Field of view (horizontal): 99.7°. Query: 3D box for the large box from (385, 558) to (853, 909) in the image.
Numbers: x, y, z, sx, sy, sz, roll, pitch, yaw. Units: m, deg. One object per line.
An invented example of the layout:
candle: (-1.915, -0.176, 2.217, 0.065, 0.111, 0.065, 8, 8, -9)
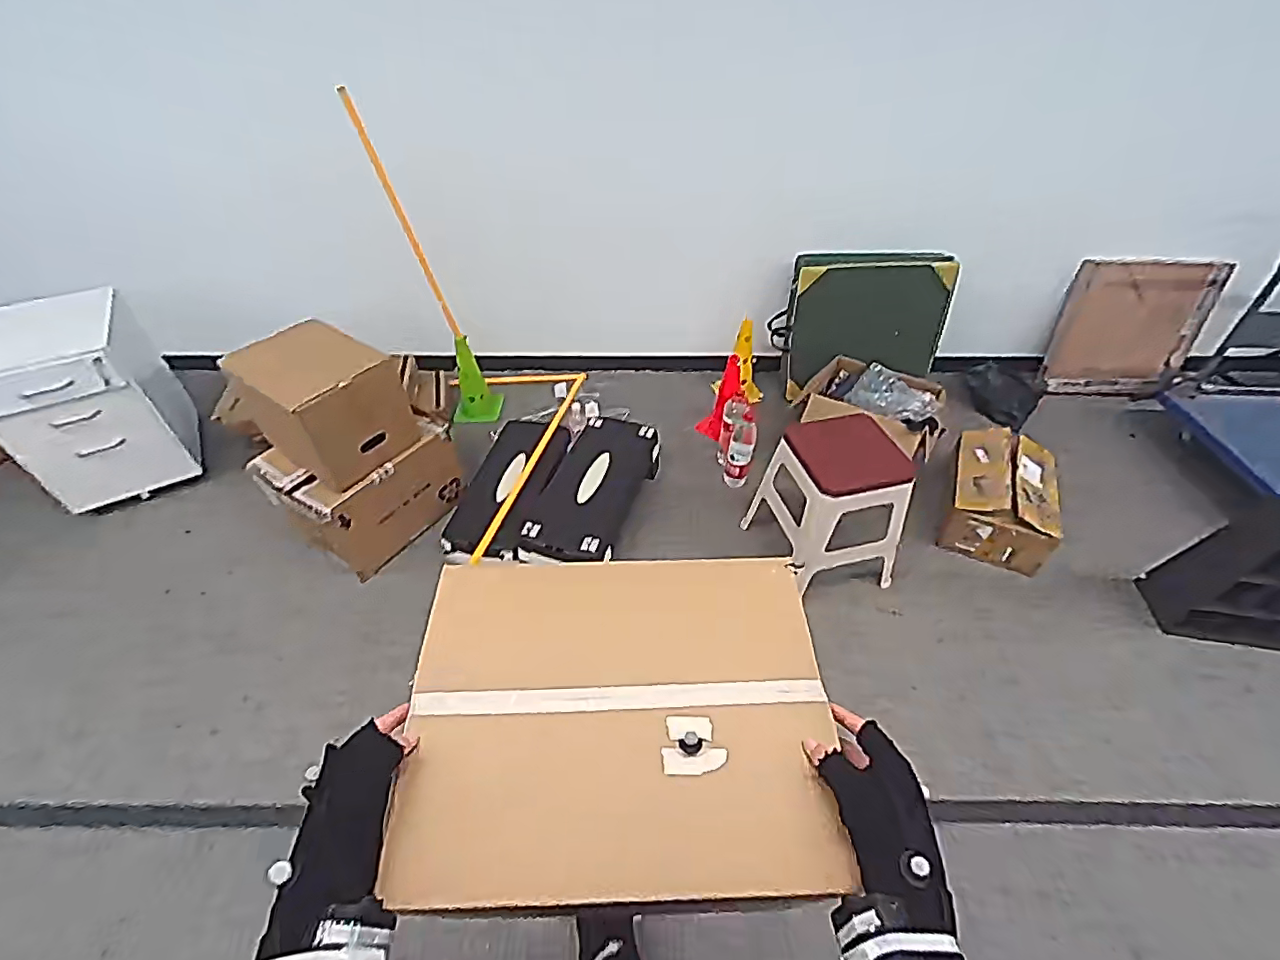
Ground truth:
large box: (-0.022, 0.311, 0.659, 0.408, 0.320, 0.320, -1, 50, -1)
